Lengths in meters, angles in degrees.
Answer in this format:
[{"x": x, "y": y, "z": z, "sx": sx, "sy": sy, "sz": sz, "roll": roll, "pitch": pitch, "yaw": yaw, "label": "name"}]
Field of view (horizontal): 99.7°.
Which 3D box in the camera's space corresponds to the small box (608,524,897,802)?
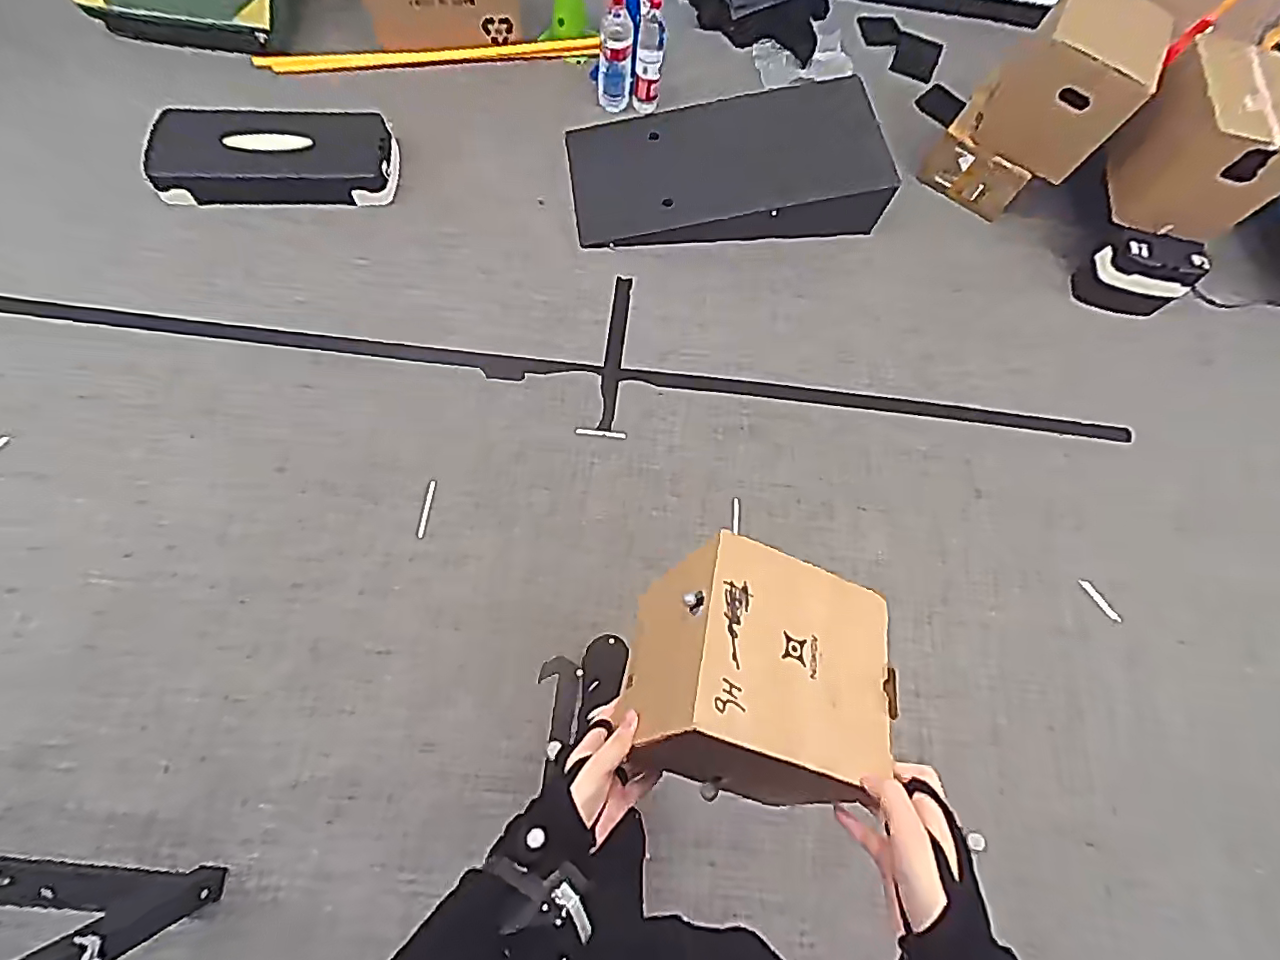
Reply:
[{"x": 0.095, "y": 0.171, "z": 0.482, "sx": 0.179, "sy": 0.176, "sz": 0.168, "roll": 24, "pitch": 52, "yaw": -12, "label": "small box"}]
